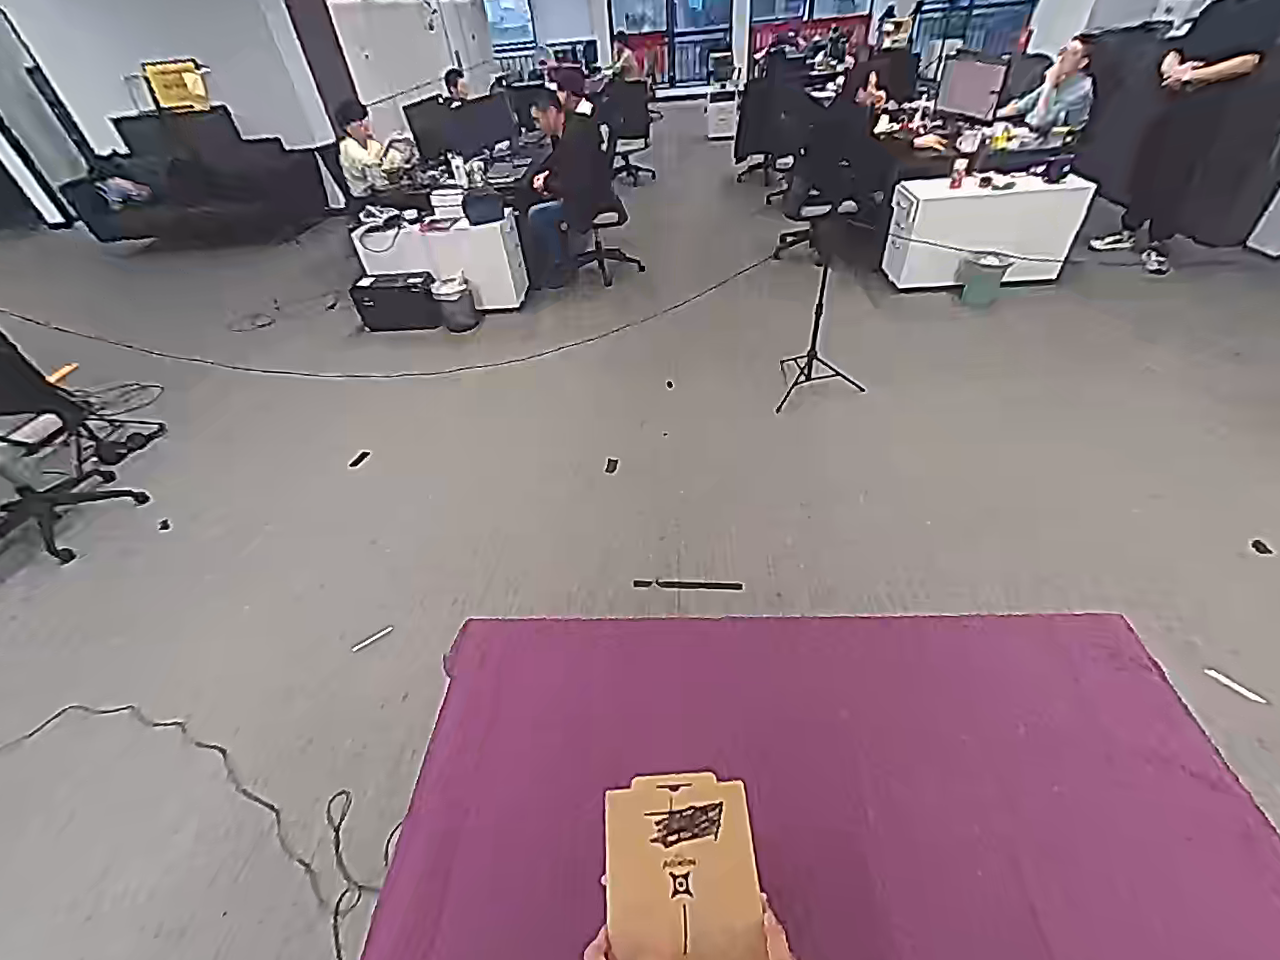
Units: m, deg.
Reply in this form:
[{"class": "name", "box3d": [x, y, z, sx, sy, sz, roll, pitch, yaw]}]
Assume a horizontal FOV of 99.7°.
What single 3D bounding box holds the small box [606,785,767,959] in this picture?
[{"class": "small box", "box3d": [0.051, 0.498, 0.655, 0.168, 0.176, 0.179, -5, 41, 2]}]
